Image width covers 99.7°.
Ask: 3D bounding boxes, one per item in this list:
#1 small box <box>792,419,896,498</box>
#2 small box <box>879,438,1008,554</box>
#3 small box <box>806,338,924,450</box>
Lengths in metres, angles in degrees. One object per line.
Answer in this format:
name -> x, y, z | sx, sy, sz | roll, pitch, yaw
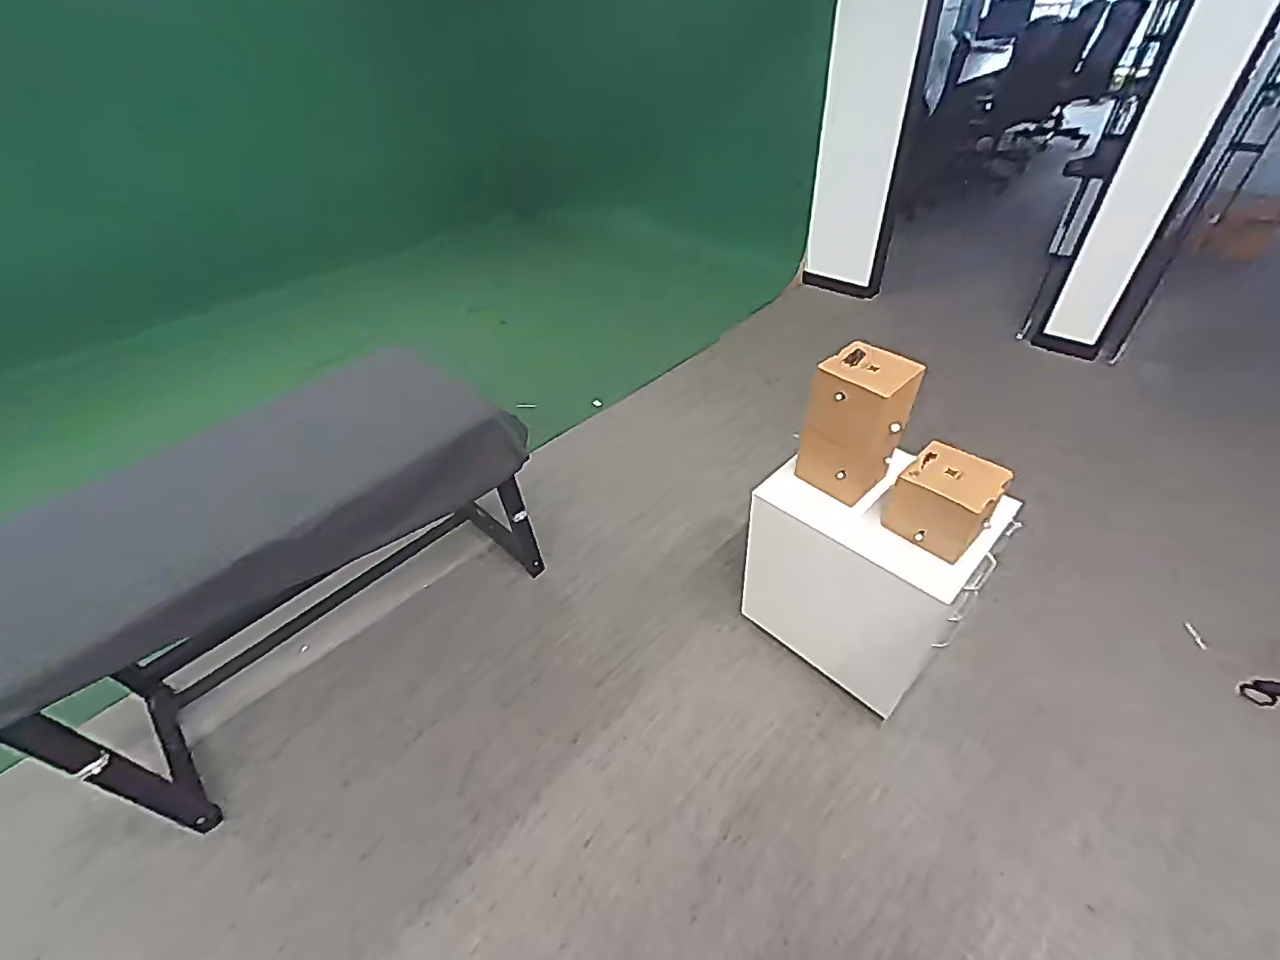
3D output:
small box -> 0.510, -0.078, 1.362 | 0.168, 0.176, 0.179 | -34, 50, -29
small box -> 0.675, 0.043, 1.219 | 0.168, 0.176, 0.179 | -34, 51, -28
small box -> 0.509, -0.198, 1.248 | 0.168, 0.176, 0.179 | -33, 52, -28
